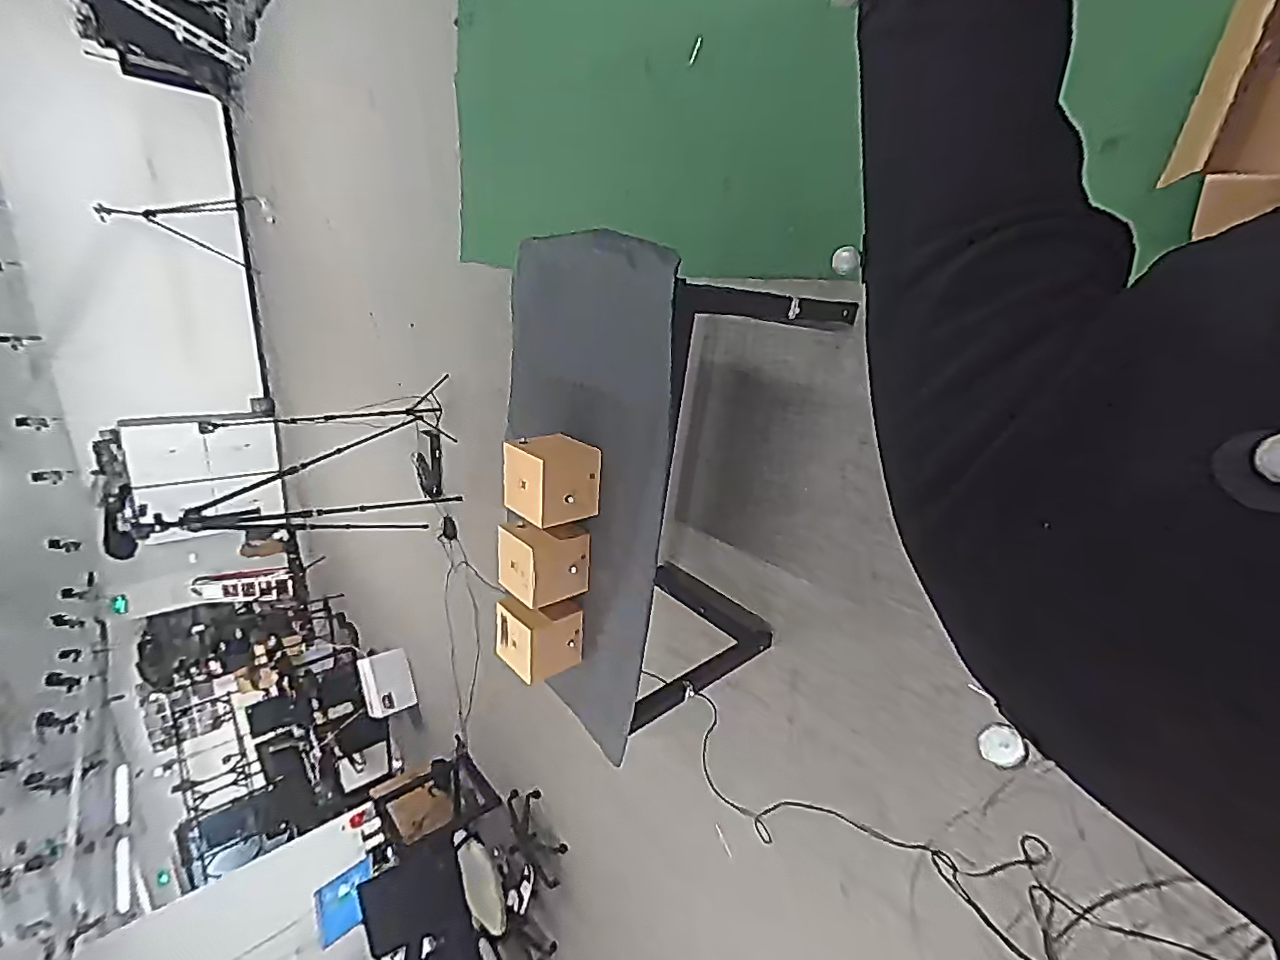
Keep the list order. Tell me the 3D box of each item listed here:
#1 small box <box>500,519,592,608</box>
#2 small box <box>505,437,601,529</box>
[{"bbox_3d":[-0.245,0.201,1.390,0.179,0.176,0.168,22,115,44],"label":"small box"},{"bbox_3d":[-0.208,-0.003,1.302,0.179,0.176,0.168,23,116,44],"label":"small box"}]
